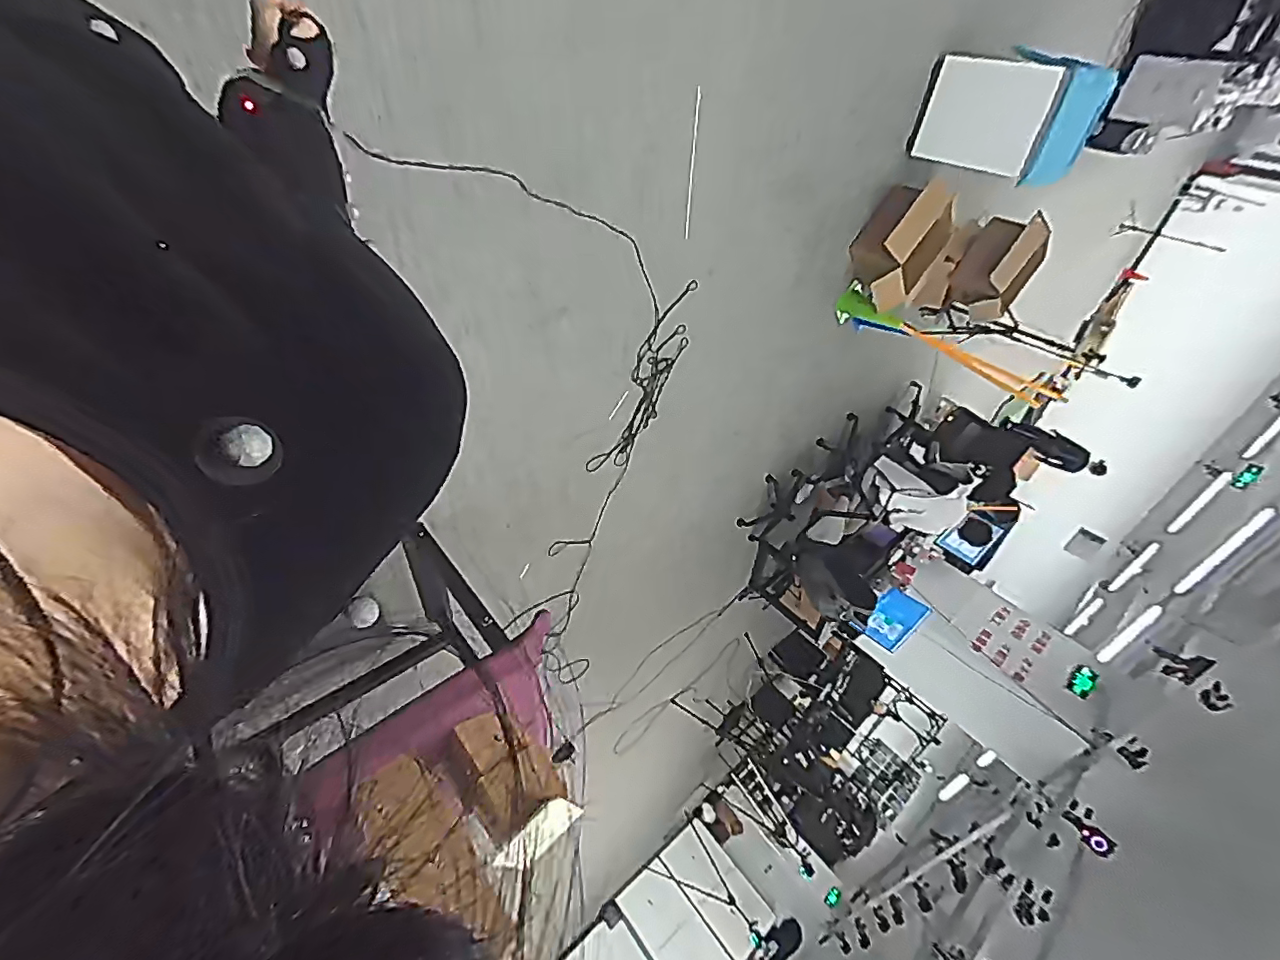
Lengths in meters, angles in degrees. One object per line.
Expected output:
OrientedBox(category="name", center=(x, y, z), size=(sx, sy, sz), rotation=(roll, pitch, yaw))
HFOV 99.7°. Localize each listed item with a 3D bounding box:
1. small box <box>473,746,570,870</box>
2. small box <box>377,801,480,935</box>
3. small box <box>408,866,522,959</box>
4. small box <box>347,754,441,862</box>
OrientedBox(category="small box", center=(-0.308, 0.829, 1.380), size=(0.179, 0.176, 0.168), rotation=(-16, 133, -42))
OrientedBox(category="small box", center=(-0.477, 0.885, 1.229), size=(0.179, 0.176, 0.168), rotation=(-26, 140, -33))
OrientedBox(category="small box", center=(-0.370, 0.971, 1.139), size=(0.179, 0.176, 0.168), rotation=(-26, 140, -32))
OrientedBox(category="small box", center=(-0.589, 0.809, 1.322), size=(0.168, 0.176, 0.179), rotation=(-26, 140, -32))
